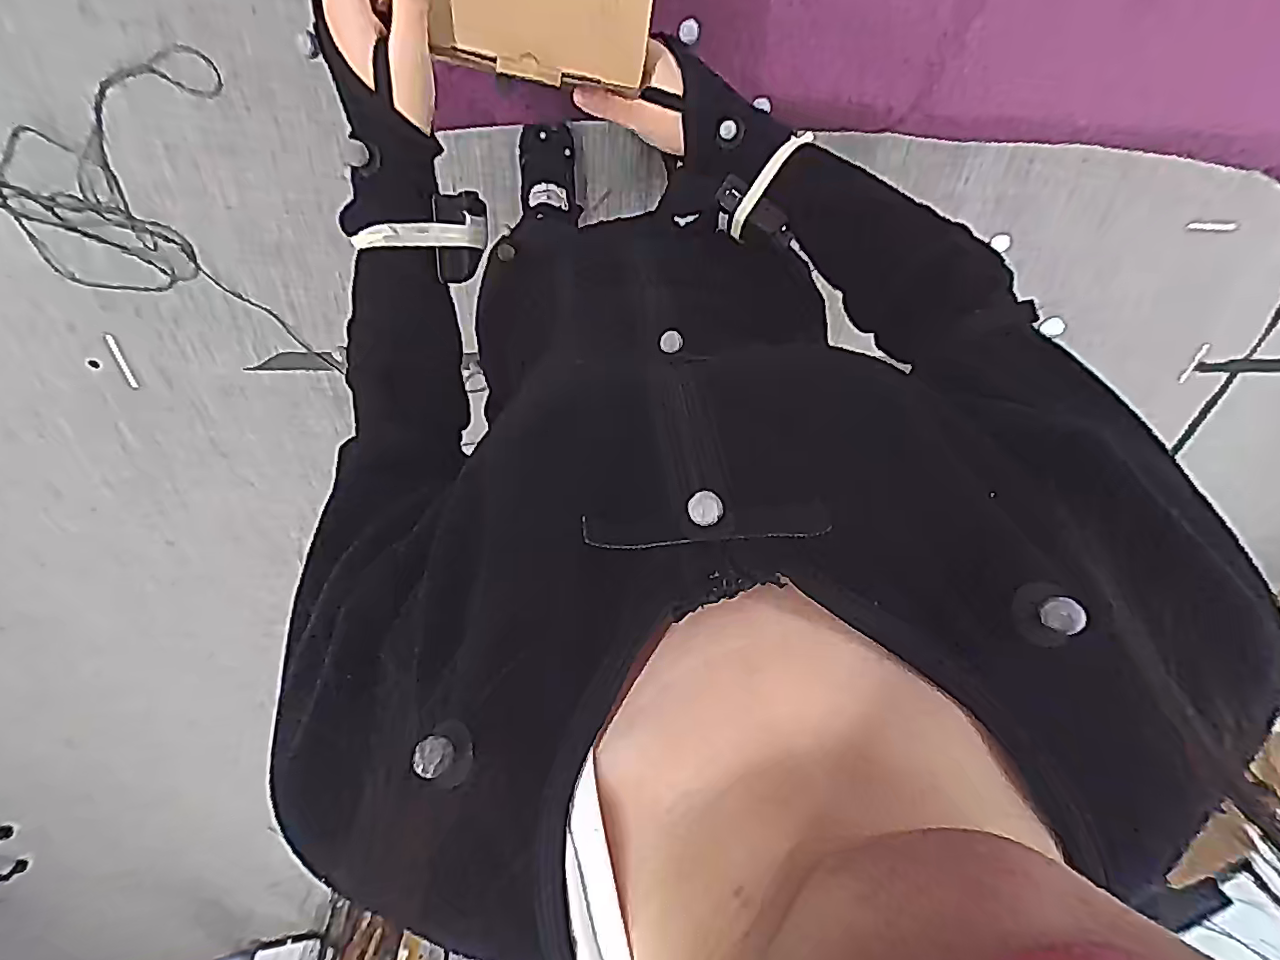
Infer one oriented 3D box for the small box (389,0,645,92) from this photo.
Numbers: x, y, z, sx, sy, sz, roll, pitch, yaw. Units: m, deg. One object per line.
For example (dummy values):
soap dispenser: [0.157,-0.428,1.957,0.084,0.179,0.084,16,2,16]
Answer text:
small box: [-0.093,-0.401,0.385,0.168,0.176,0.179,-5,126,-23]
